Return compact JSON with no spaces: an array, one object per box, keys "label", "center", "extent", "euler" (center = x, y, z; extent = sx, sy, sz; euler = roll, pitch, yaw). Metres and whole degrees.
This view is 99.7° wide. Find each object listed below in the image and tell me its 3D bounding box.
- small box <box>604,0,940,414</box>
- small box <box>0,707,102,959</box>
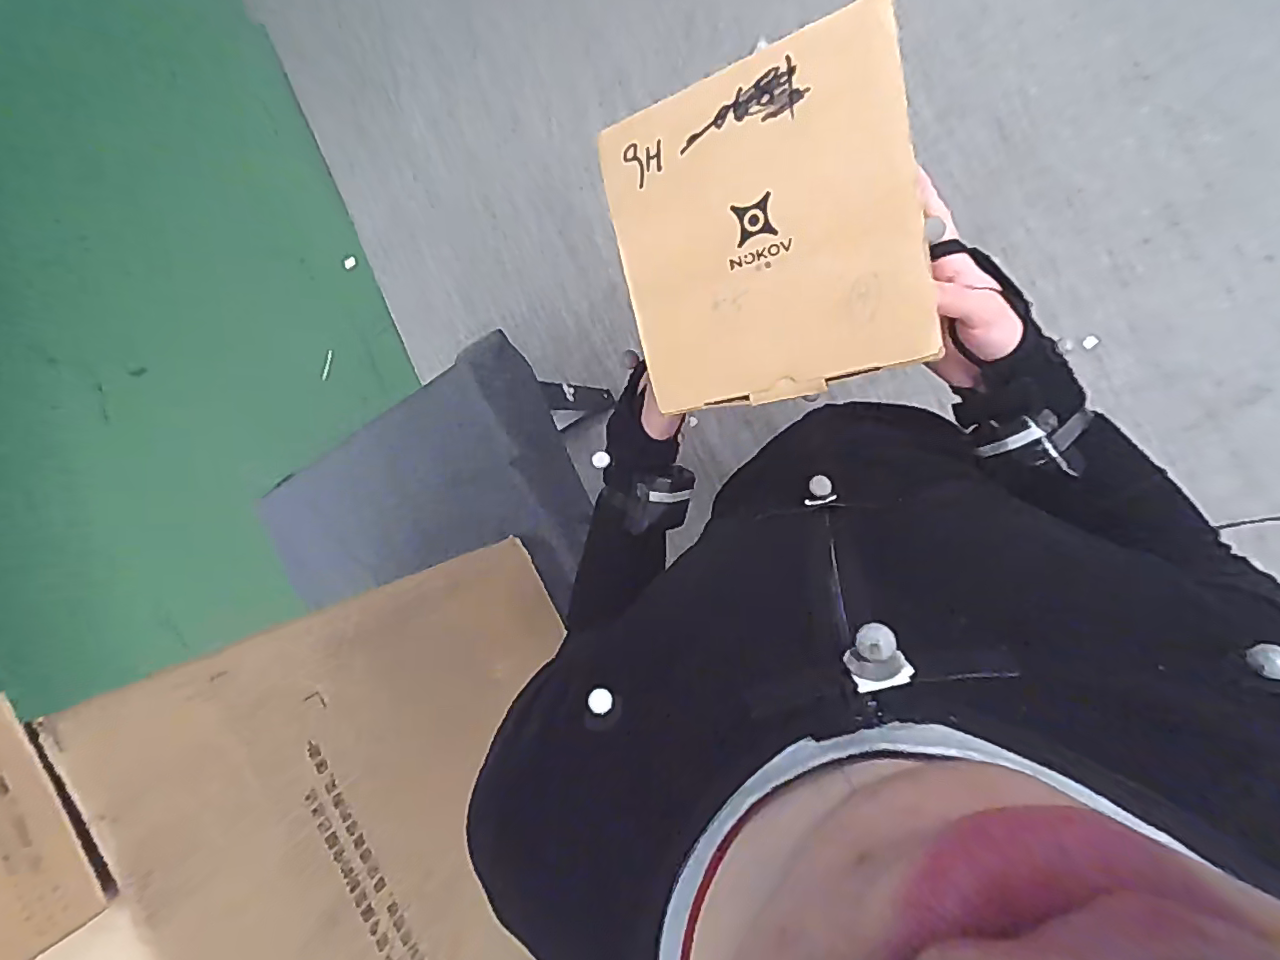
[{"label":"small box","center":[0.102,-0.157,0.375],"extent":[0.168,0.176,0.179],"euler":[-9,101,27]},{"label":"small box","center":[-0.478,0.270,0.320],"extent":[0.179,0.176,0.168],"euler":[-37,82,19]}]
